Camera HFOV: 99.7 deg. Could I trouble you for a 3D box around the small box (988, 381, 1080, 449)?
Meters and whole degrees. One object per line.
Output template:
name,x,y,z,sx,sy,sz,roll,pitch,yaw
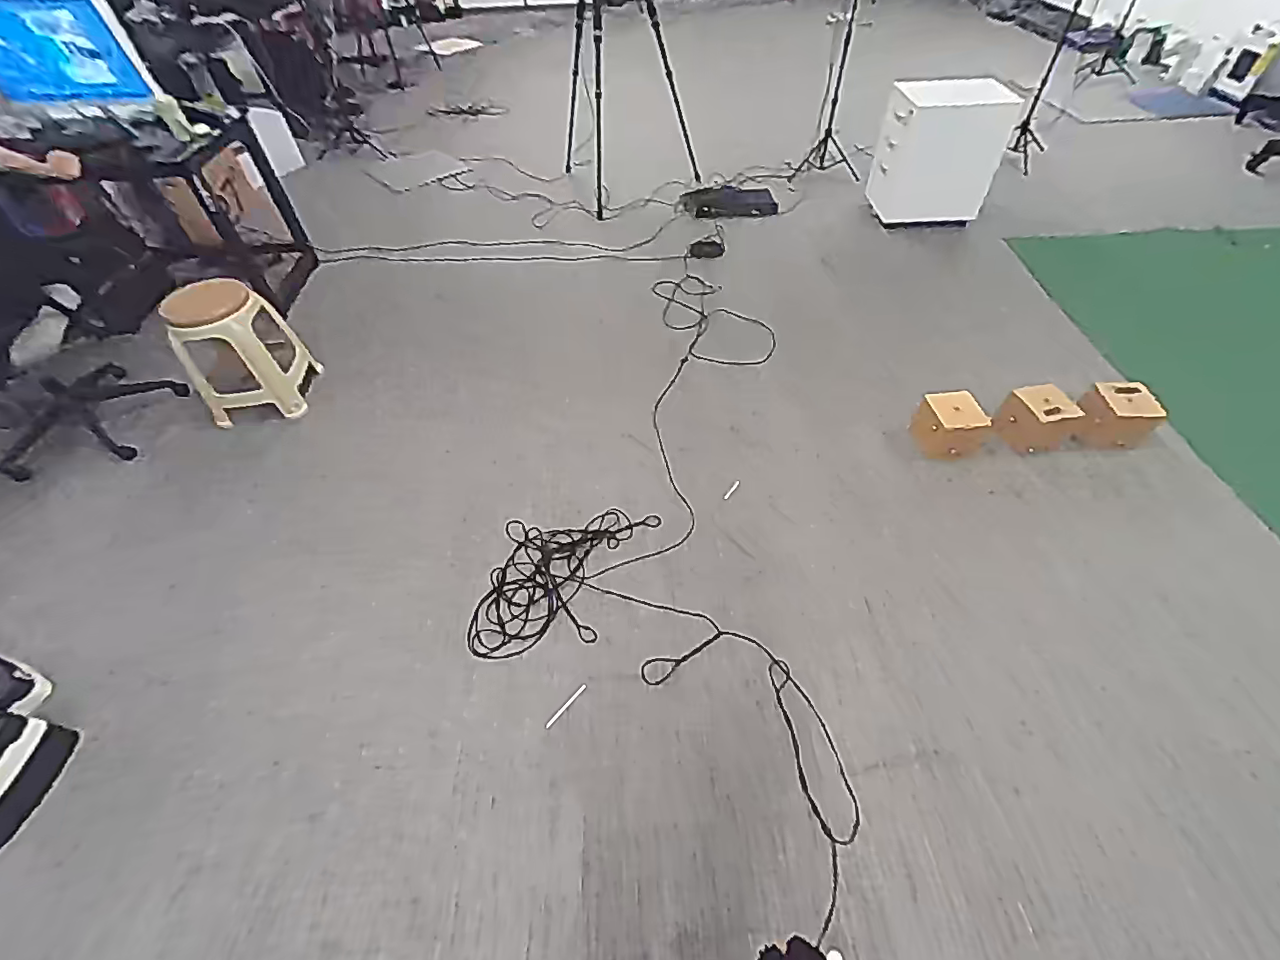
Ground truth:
small box,1.406,-0.226,1.941,0.168,0.176,0.179,-9,50,-5

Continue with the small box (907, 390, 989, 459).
small box,1.090,-0.198,1.932,0.168,0.176,0.179,-6,51,-2
